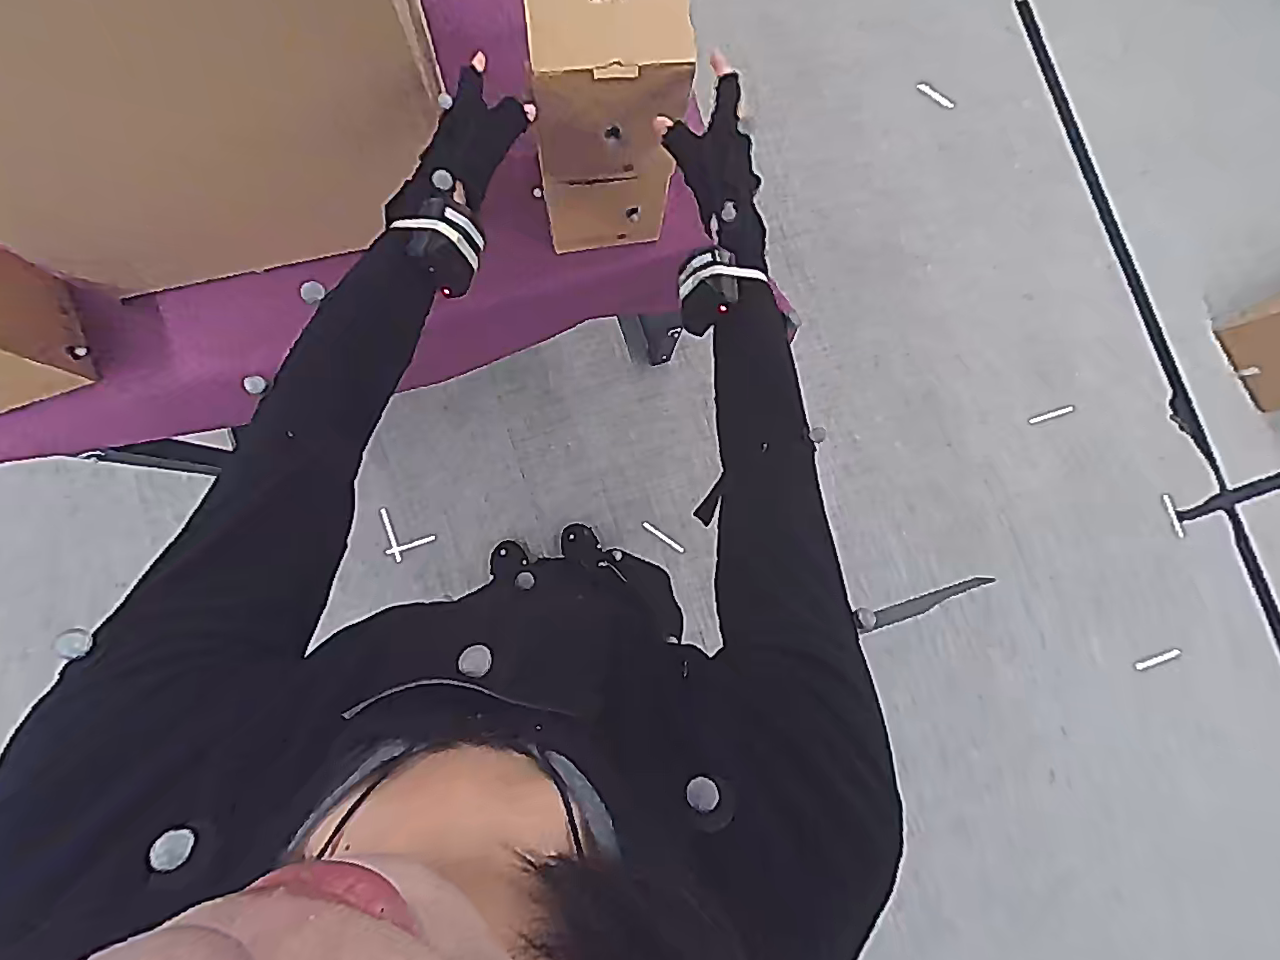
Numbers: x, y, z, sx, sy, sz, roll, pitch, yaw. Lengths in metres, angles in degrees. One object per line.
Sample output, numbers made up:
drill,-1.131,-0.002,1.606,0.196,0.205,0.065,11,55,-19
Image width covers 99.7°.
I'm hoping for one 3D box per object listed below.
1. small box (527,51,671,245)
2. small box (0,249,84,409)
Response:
small box,-0.058,-0.458,0.774,0.168,0.176,0.179,-10,84,-6
small box,-0.861,-0.195,0.673,0.179,0.176,0.168,-22,85,-7
